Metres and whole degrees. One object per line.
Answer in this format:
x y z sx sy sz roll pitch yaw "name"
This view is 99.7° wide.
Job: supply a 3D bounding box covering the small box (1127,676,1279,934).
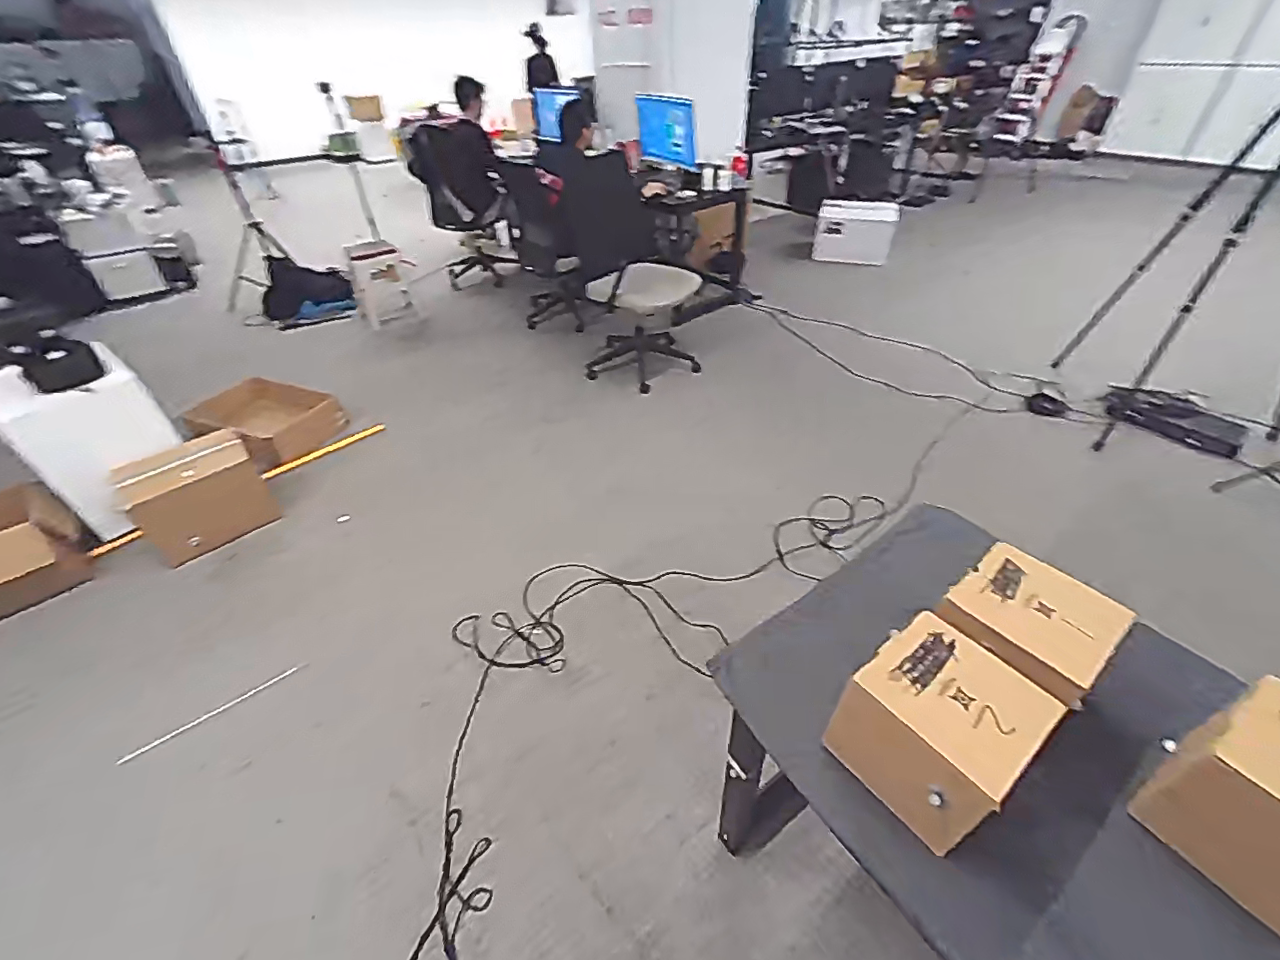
0.708 0.362 0.593 0.168 0.176 0.179 -24 44 -23 "small box"
